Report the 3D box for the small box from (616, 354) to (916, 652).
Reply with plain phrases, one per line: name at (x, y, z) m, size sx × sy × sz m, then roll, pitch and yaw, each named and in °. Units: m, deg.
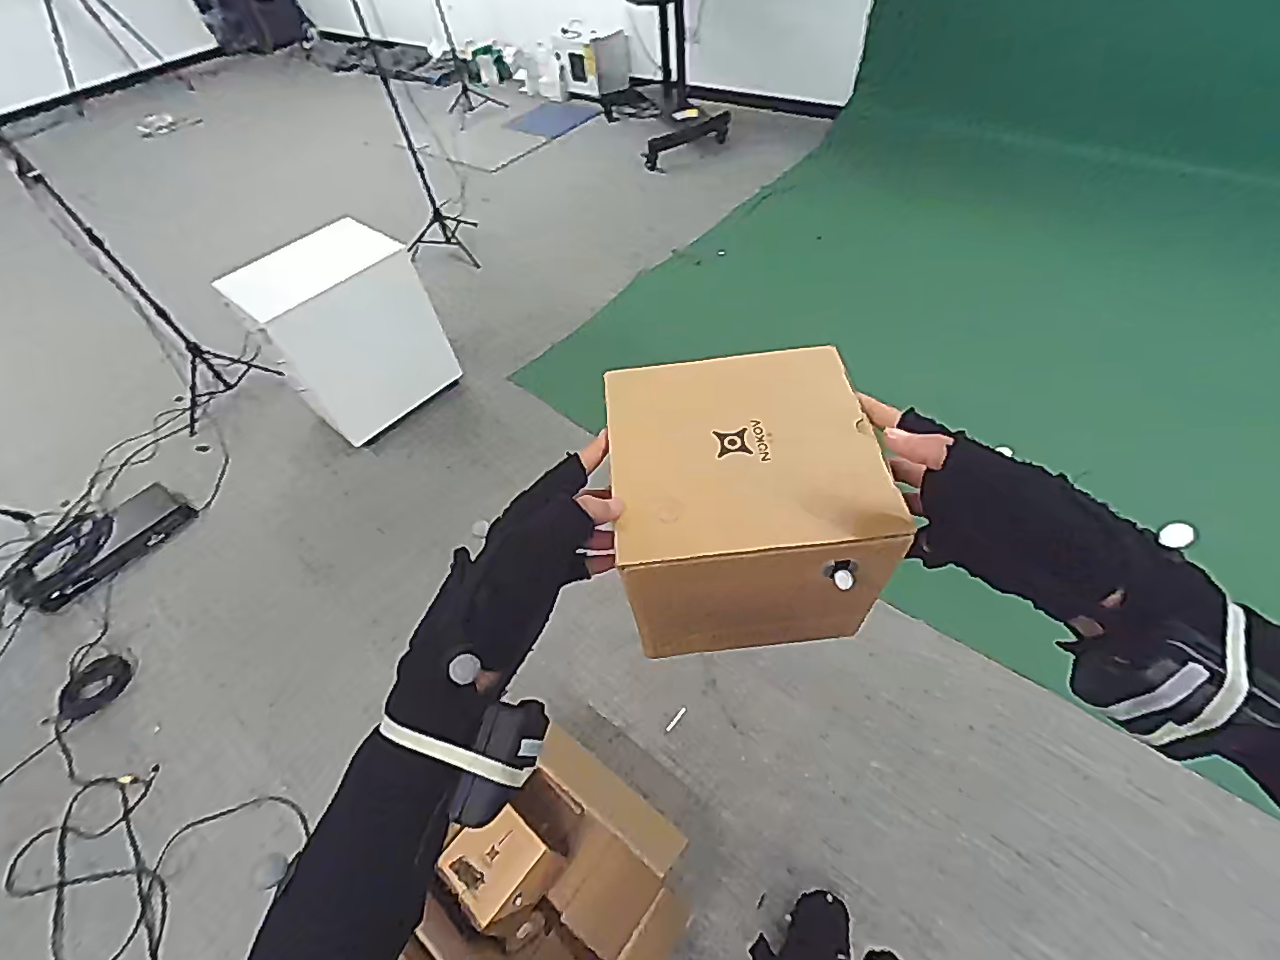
small box at (0.081, 0.026, 0.432) m, size 0.179 × 0.176 × 0.168 m, roll -7°, pitch 54°, yaw 1°
